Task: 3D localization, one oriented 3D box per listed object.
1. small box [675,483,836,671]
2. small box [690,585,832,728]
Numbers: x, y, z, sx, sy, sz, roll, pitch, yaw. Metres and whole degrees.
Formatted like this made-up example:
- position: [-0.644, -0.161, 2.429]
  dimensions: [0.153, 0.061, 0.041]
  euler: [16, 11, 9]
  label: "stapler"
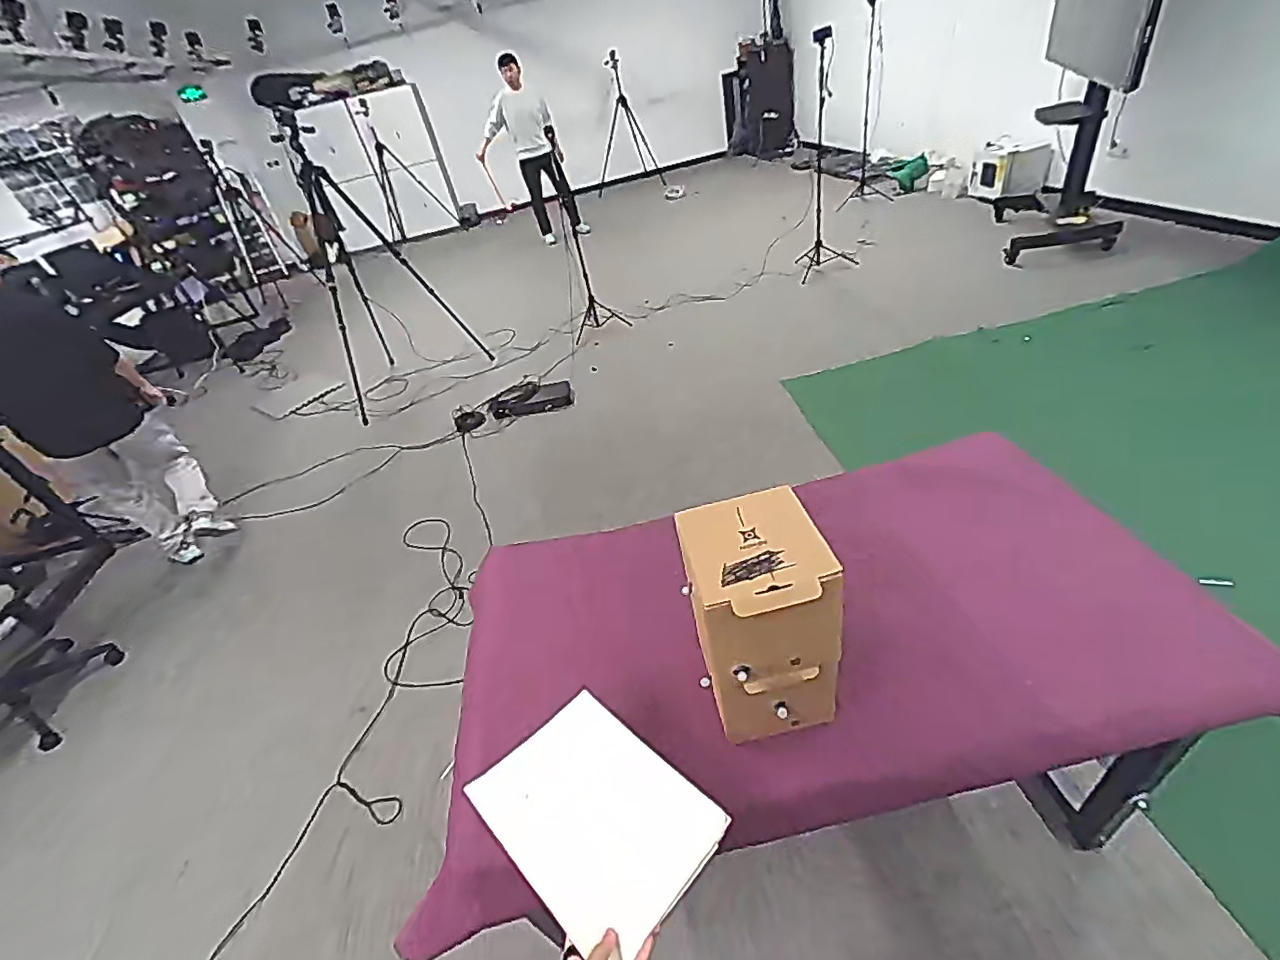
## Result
- position: [0.153, 0.135, 0.730]
  dimensions: [0.168, 0.176, 0.179]
  euler: [-13, 36, 1]
  label: "small box"
- position: [0.183, 0.259, 0.835]
  dimensions: [0.168, 0.176, 0.179]
  euler: [-13, 38, 0]
  label: "small box"
